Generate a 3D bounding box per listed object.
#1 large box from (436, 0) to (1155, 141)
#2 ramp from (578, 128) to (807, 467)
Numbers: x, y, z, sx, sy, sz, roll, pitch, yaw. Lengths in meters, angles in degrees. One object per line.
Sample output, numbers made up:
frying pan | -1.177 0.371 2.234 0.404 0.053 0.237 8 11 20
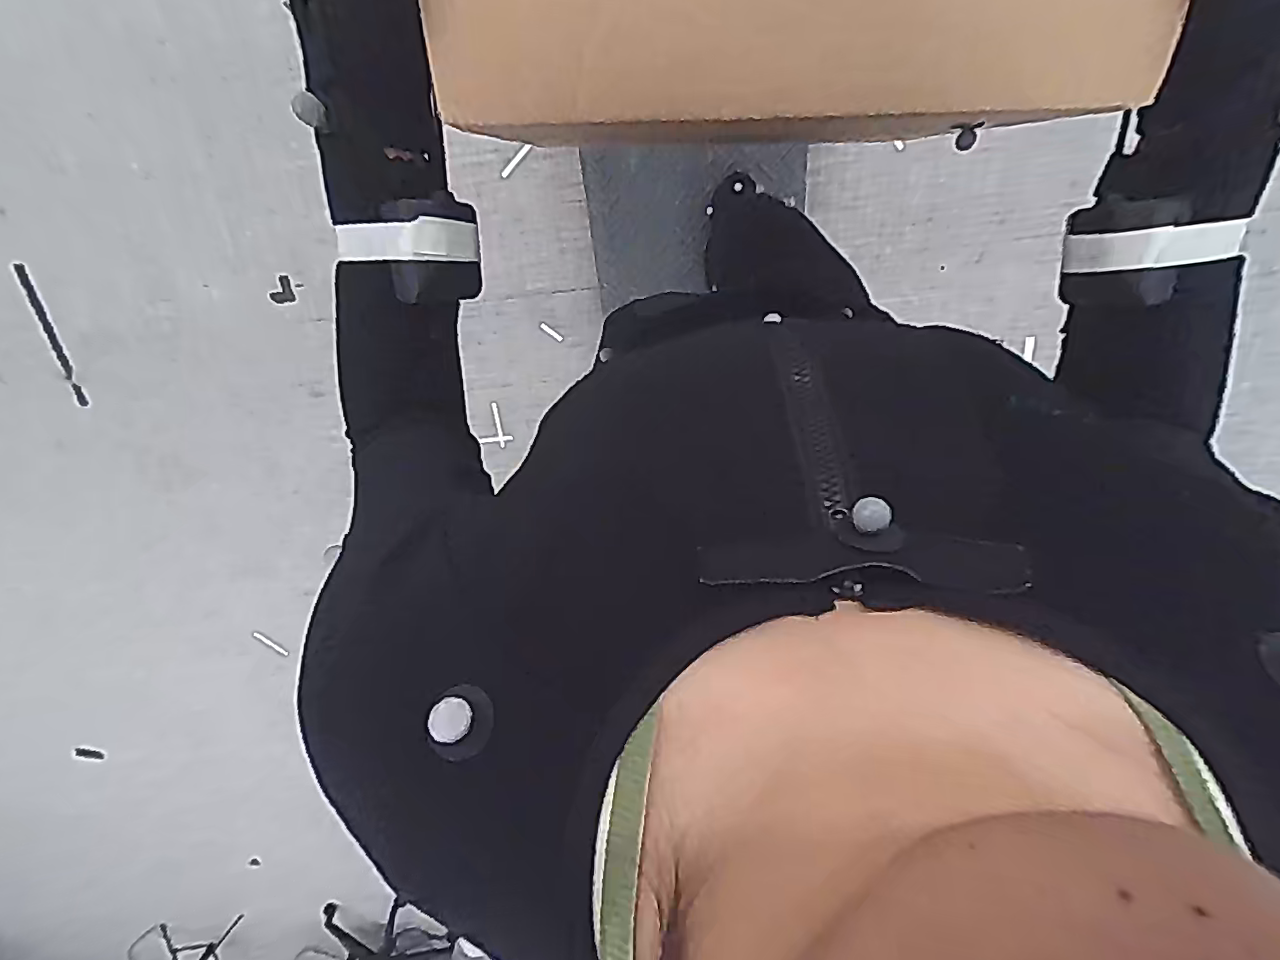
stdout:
large box | 0.084 -0.427 0.374 0.408 0.320 0.320 -1 119 1
ramp | 0.147 -0.465 1.341 0.509 0.206 0.991 -6 114 5
